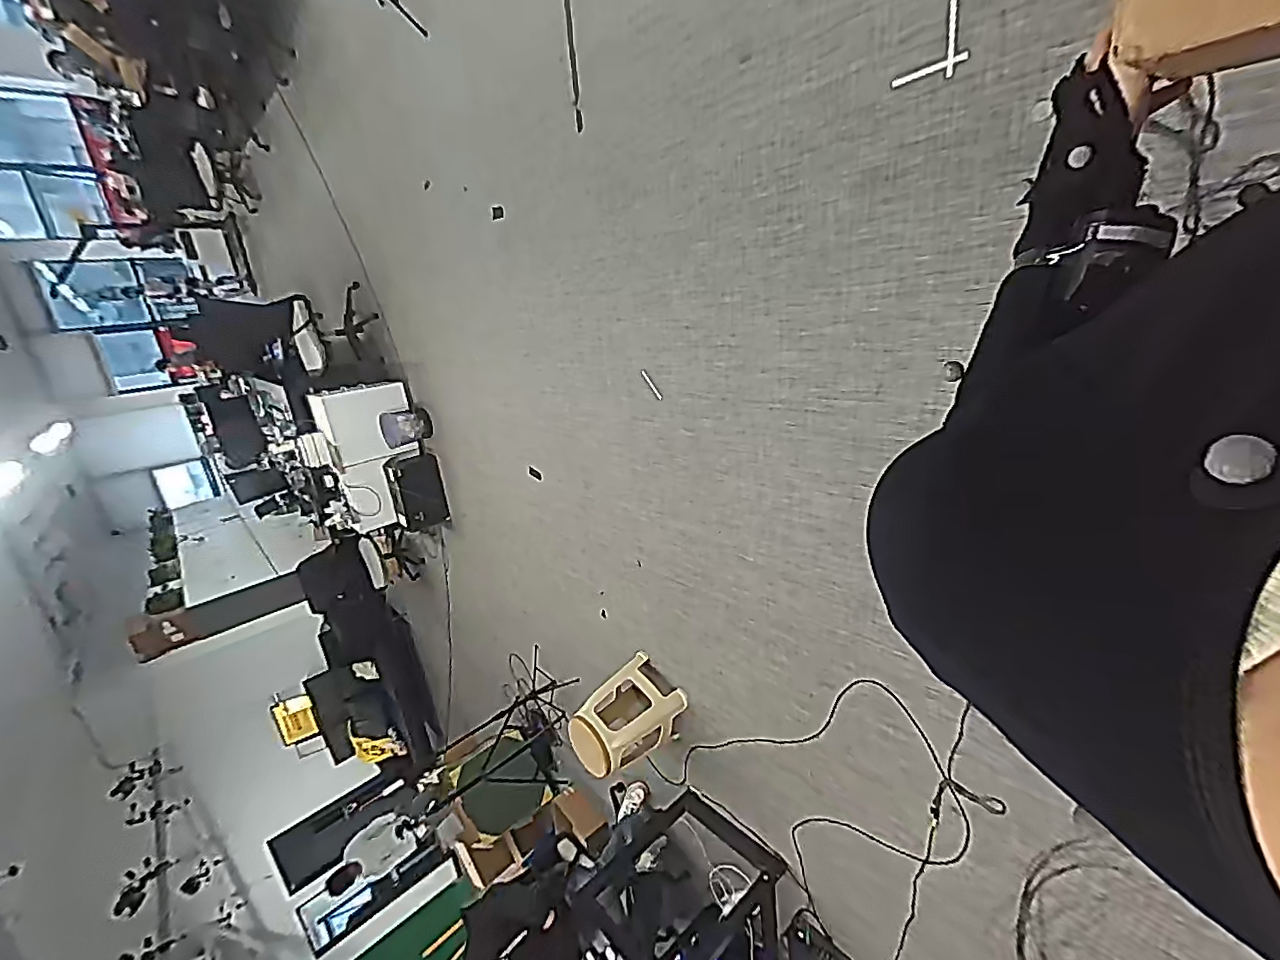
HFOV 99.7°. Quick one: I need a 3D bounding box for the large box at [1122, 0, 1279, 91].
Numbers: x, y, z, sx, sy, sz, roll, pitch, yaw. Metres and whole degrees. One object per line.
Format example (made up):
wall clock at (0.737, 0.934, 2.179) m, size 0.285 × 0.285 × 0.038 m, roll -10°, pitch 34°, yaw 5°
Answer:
large box at (0.412, -0.344, 0.130) m, size 0.408 × 0.320 × 0.320 m, roll 11°, pitch 124°, yaw 42°
